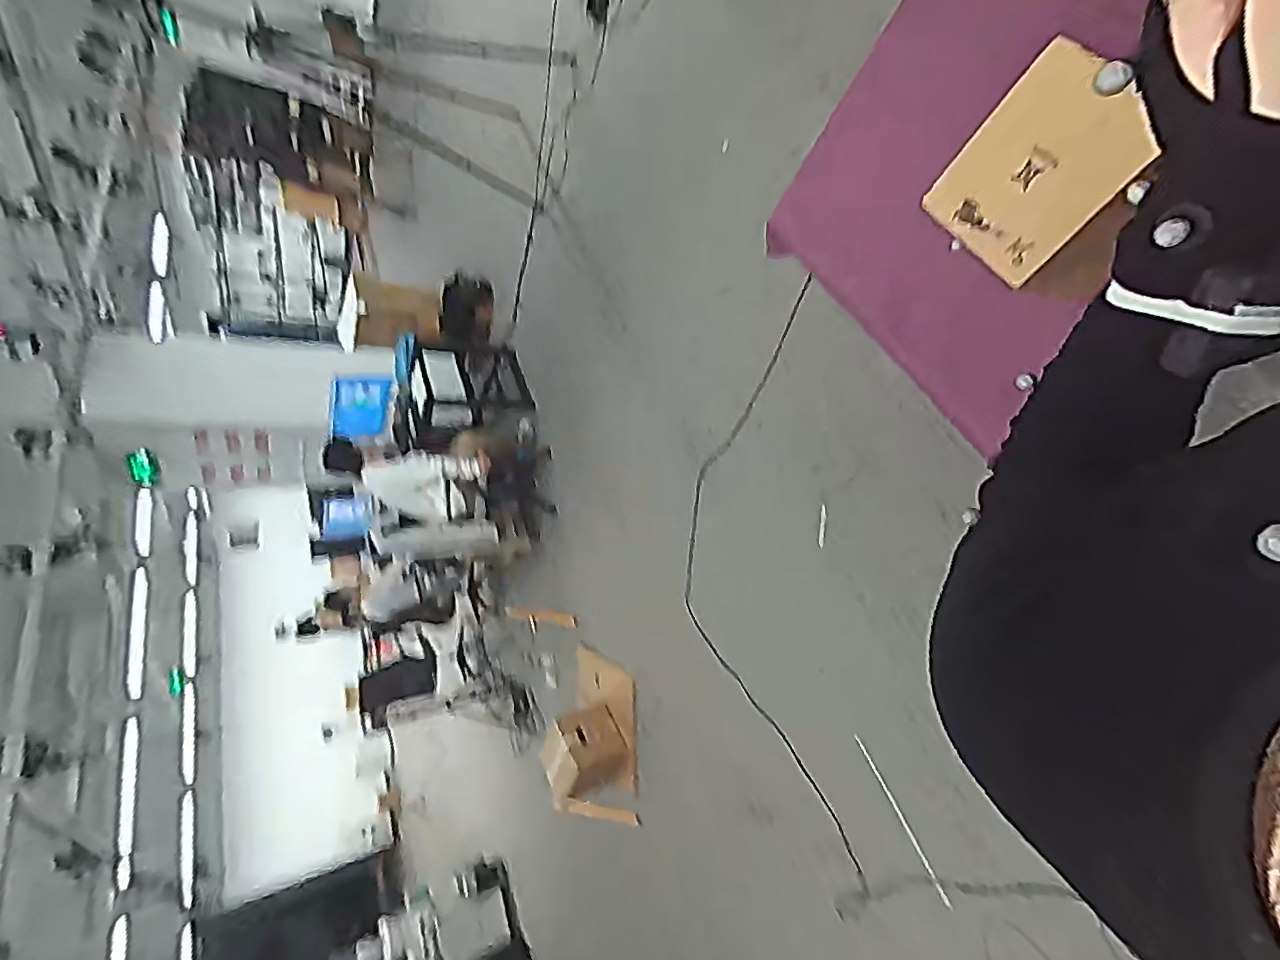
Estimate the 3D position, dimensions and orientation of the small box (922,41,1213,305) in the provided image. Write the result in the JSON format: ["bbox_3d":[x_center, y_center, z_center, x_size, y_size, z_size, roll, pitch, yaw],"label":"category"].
[{"bbox_3d":[0.468,-0.321,0.598,0.179,0.176,0.168,-54,50,42],"label":"small box"}]
